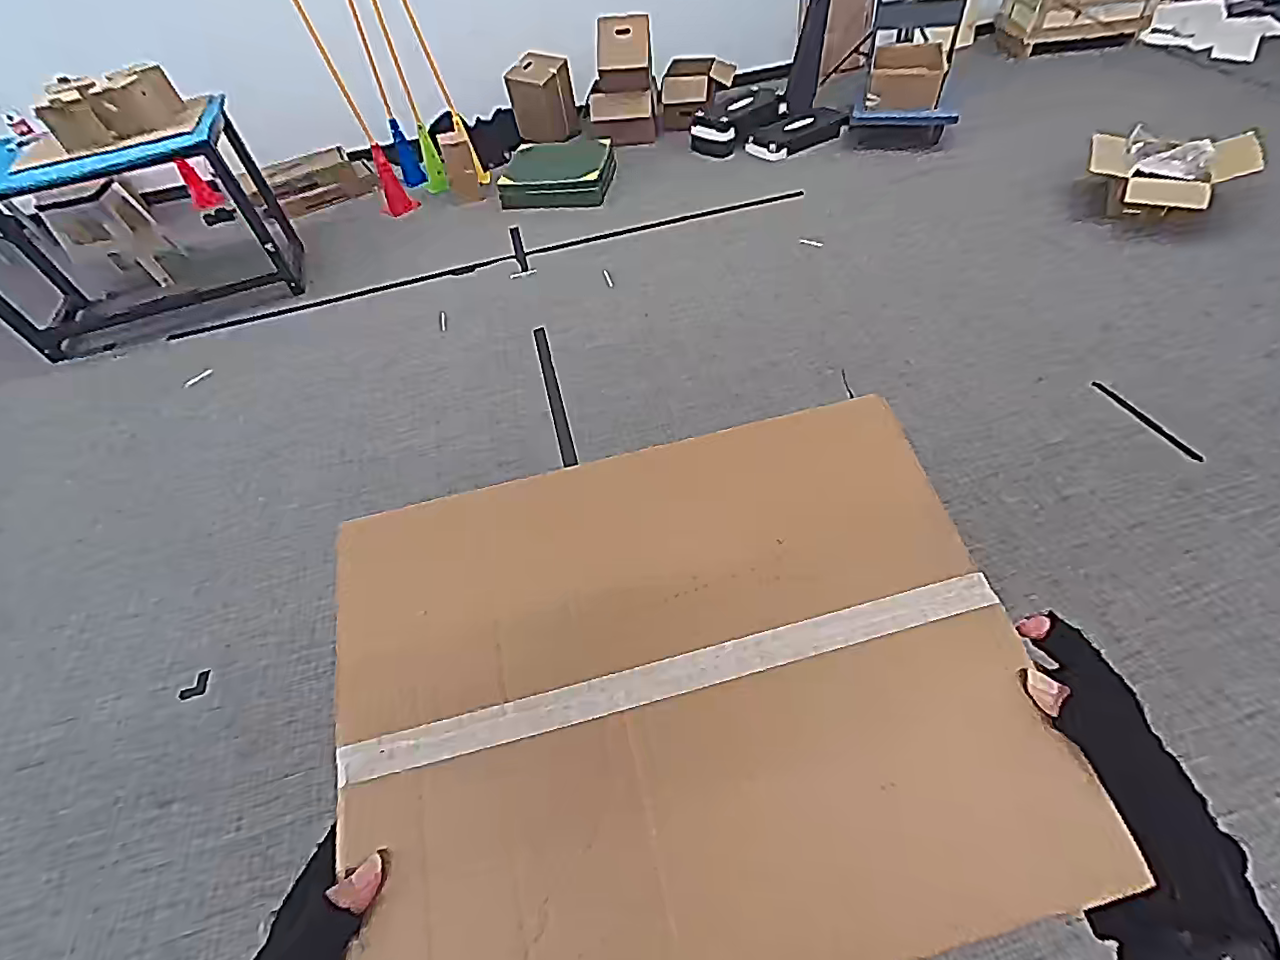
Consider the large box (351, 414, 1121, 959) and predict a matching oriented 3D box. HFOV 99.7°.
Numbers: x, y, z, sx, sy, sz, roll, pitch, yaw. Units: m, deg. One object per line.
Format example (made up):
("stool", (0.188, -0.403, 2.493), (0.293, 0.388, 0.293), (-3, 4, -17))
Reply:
("large box", (0.034, 0.194, 0.464), (0.408, 0.320, 0.320), (-14, 63, -4))
